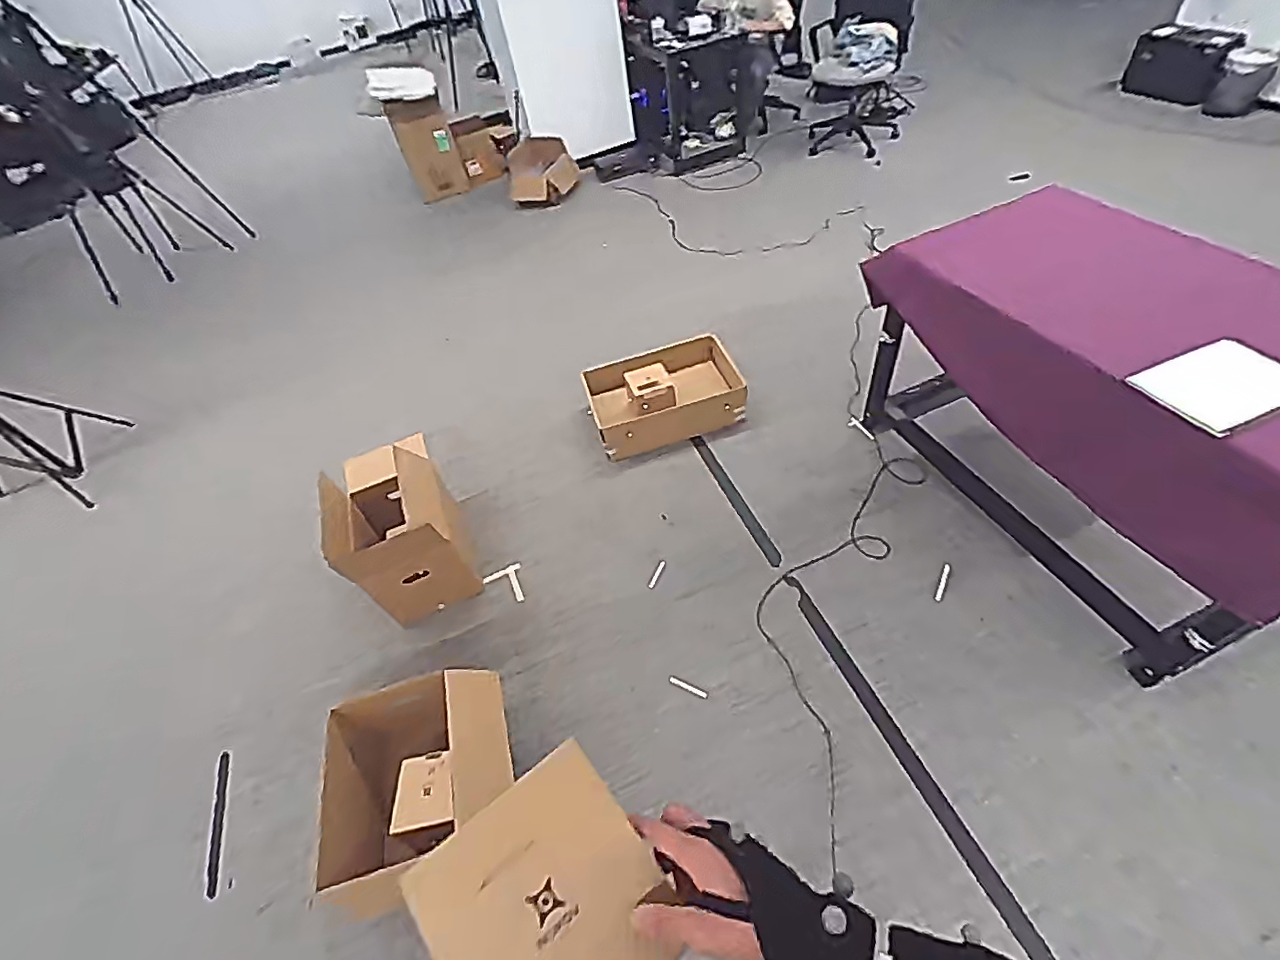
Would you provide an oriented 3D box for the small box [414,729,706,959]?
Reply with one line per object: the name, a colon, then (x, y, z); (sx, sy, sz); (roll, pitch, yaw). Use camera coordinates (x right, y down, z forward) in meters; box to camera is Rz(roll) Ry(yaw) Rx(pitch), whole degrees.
small box: (-0.066, 0.356, 0.484); (0.168, 0.176, 0.179); (-31, 65, -21)
